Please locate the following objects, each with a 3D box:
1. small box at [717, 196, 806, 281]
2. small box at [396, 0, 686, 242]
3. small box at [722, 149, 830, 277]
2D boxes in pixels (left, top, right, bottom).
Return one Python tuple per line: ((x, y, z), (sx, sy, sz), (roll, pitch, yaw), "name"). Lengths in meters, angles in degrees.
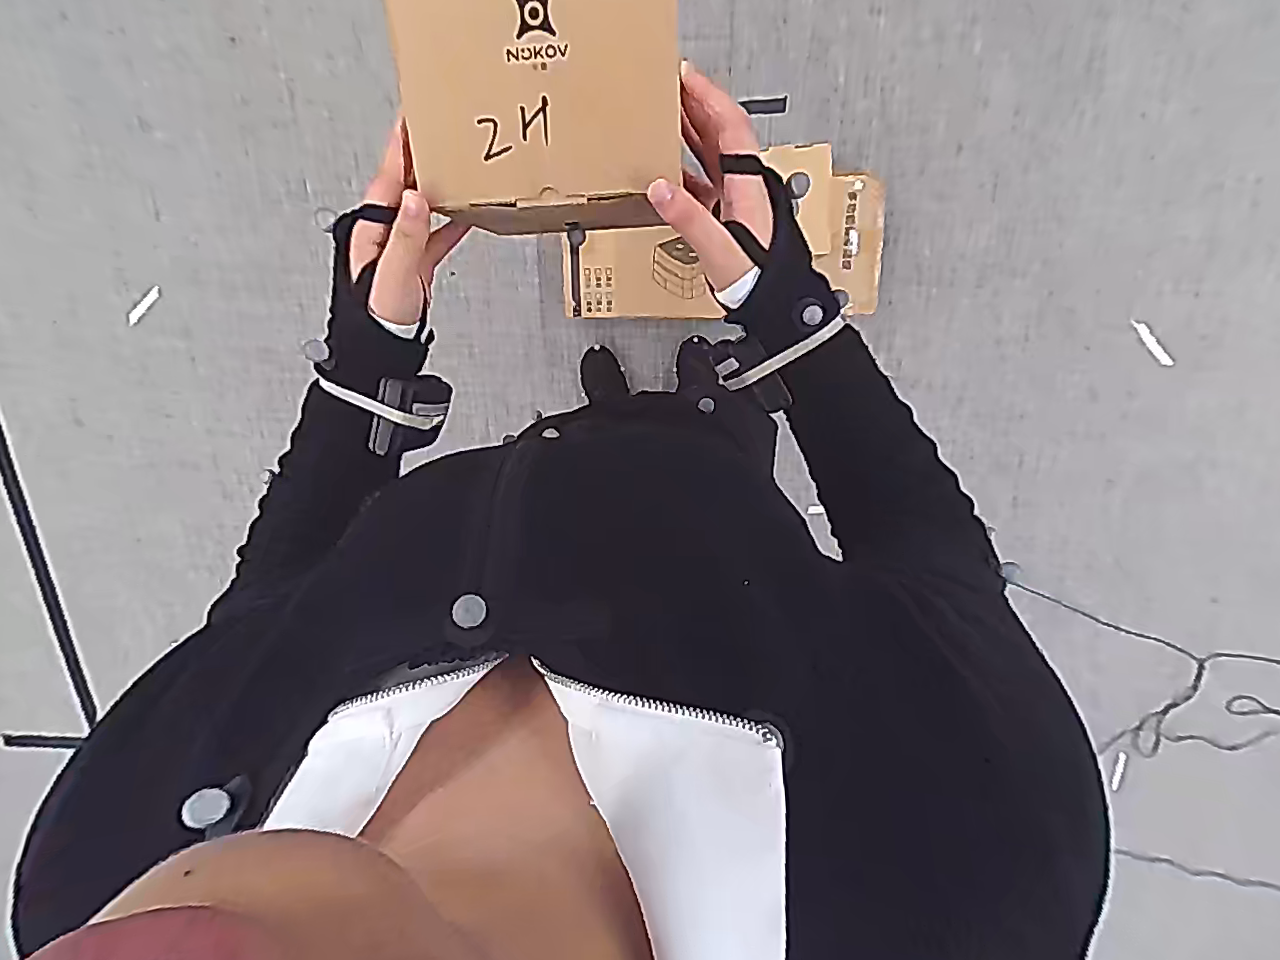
((0.258, -0.528, 1.165), (0.168, 0.176, 0.179), (-3, 105, 2), "small box")
((-0.055, -0.277, 0.386), (0.168, 0.176, 0.179), (-2, 109, 3), "small box")
((0.246, -0.486, 1.008), (0.168, 0.176, 0.179), (-5, 105, 4), "small box")
